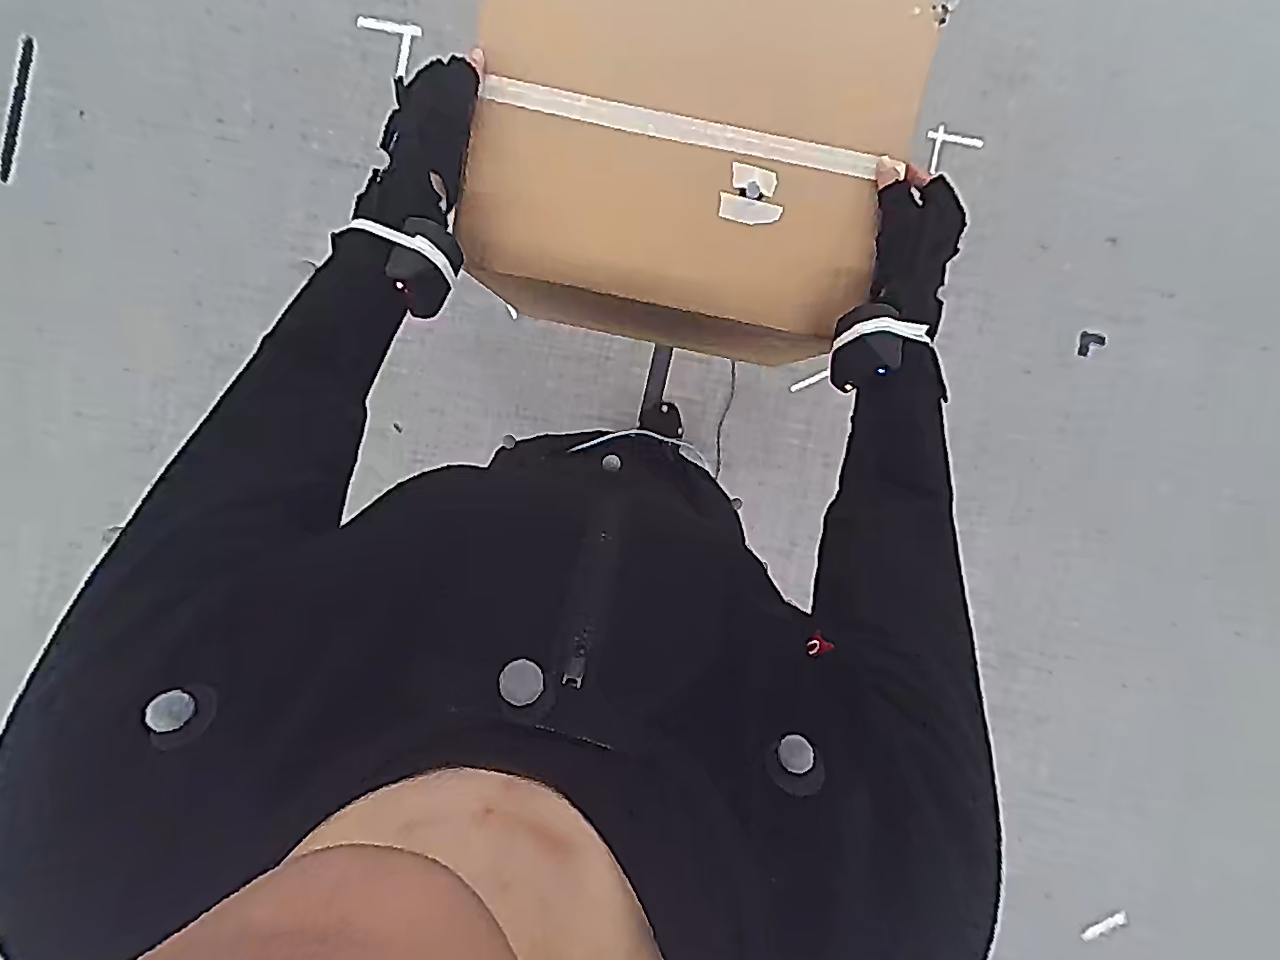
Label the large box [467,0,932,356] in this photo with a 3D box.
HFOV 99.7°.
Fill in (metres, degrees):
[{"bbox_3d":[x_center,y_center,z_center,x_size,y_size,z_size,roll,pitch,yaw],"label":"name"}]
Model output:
[{"bbox_3d":[0.047,-0.352,0.658,0.408,0.320,0.320,10,98,-3],"label":"large box"}]
